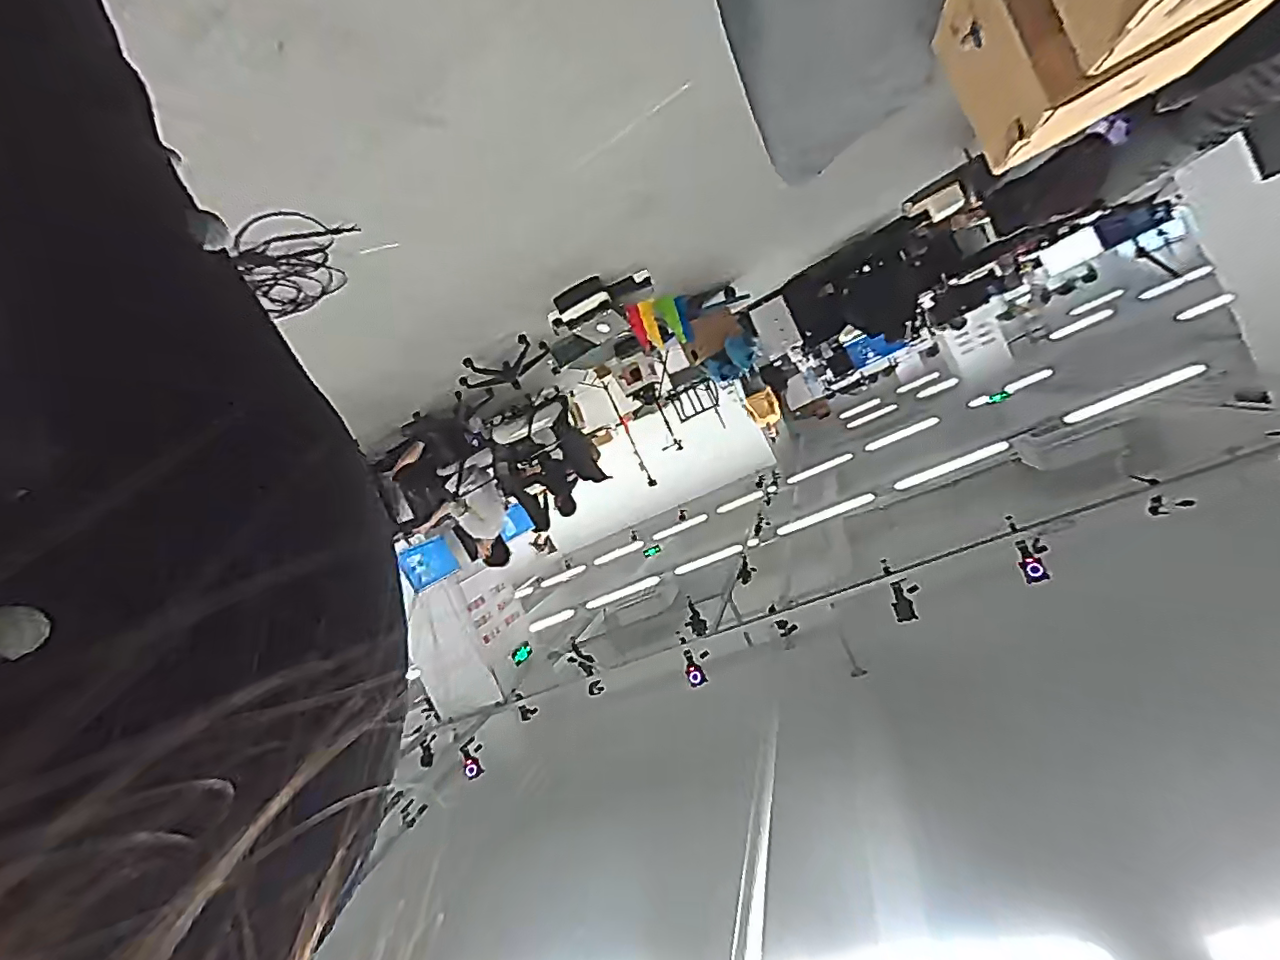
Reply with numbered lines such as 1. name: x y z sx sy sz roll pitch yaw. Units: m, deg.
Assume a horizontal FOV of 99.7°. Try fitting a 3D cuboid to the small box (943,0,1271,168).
1. small box: 0.410 -0.433 0.486 0.179 0.176 0.168 -24 -177 23
